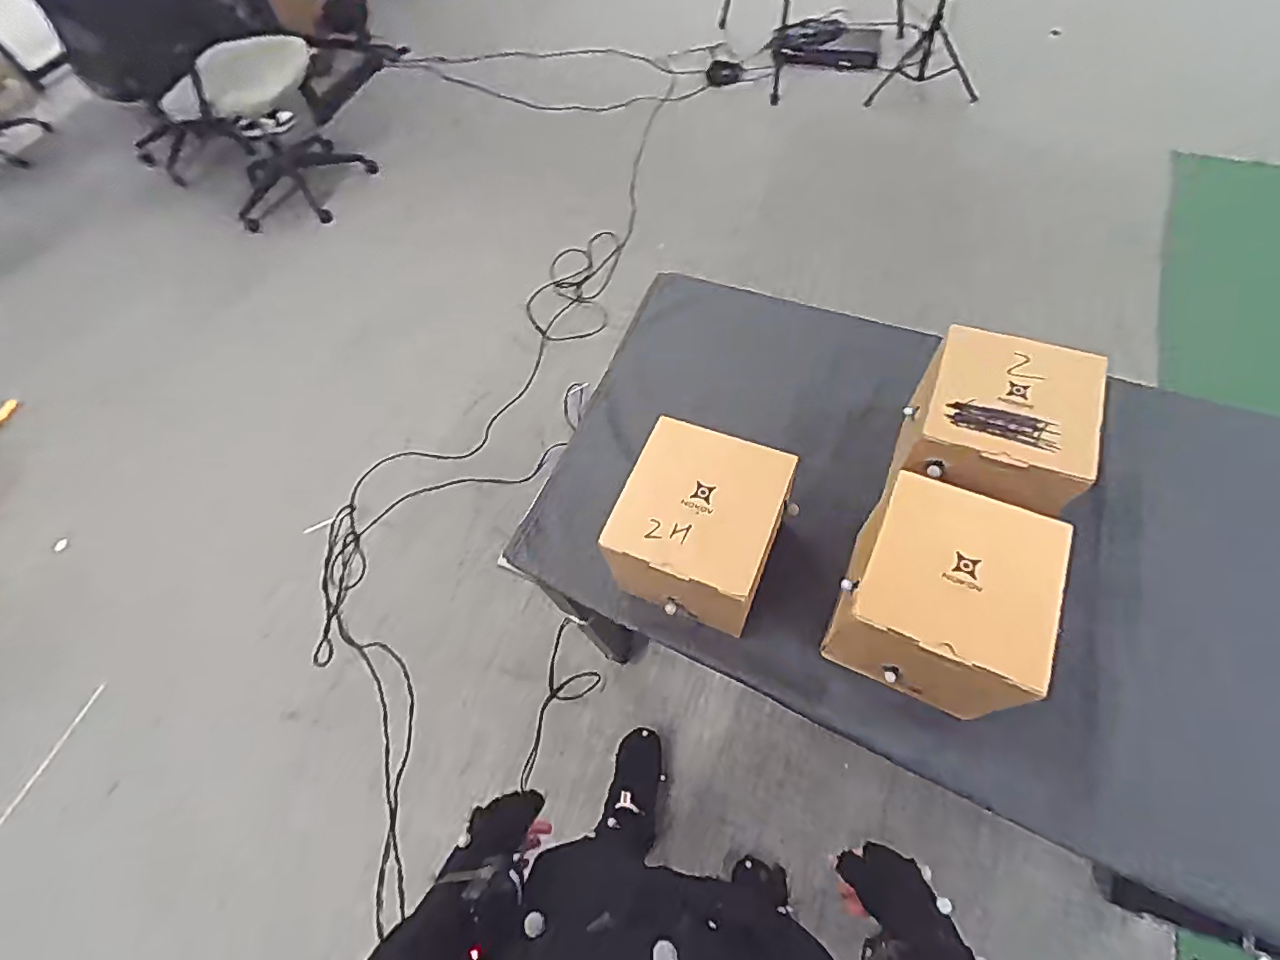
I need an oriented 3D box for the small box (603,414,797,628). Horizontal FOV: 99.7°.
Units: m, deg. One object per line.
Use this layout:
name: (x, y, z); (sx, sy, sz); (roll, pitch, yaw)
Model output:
small box: (0.075, 0.055, 0.655); (0.168, 0.176, 0.179); (19, 66, 17)
